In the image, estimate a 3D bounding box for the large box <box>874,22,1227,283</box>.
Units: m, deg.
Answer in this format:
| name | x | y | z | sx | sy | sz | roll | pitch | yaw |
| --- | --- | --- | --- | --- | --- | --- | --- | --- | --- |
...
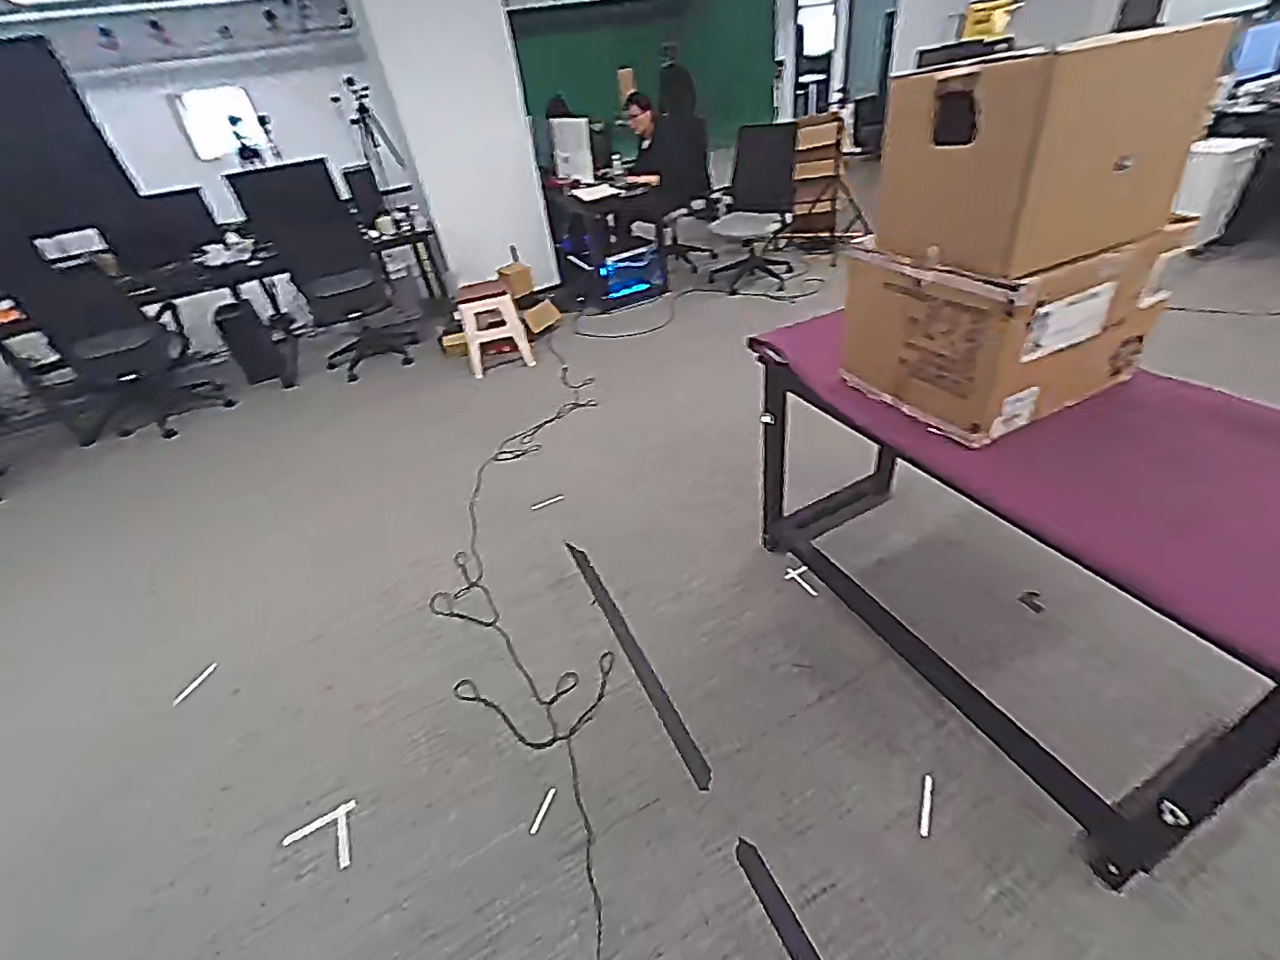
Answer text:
| name | x | y | z | sx | sy | sz | roll | pitch | yaw |
| --- | --- | --- | --- | --- | --- | --- | --- | --- | --- |
| large box | 0.705 | -0.590 | 0.991 | 0.408 | 0.320 | 0.320 | -21 | 34 | -15 |
